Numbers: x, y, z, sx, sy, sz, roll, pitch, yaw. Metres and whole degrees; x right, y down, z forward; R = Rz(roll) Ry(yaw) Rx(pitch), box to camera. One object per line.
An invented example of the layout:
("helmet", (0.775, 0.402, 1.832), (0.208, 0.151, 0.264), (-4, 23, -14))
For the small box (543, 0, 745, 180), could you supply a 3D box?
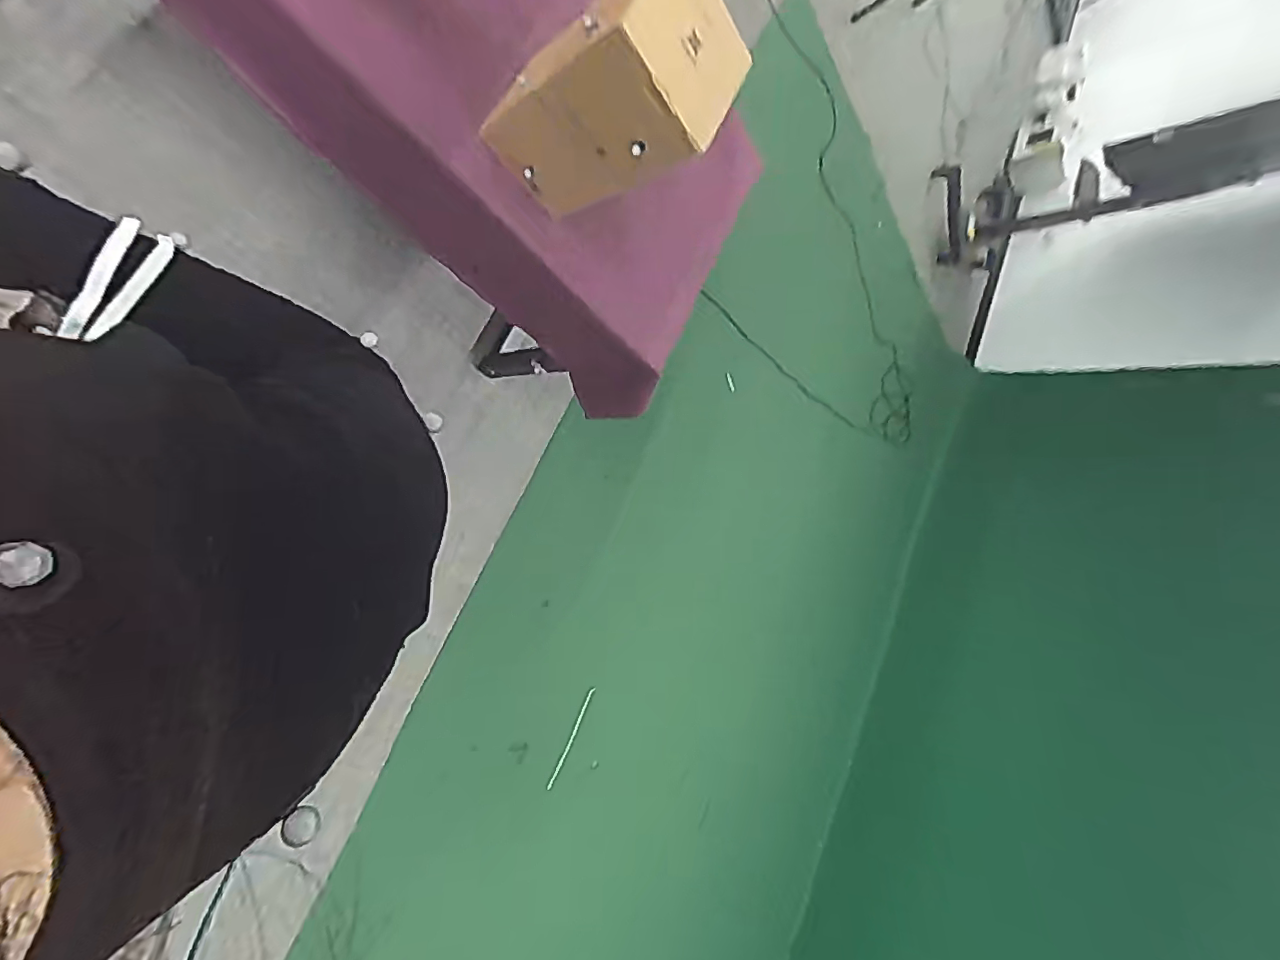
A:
("small box", (0.000, -0.530, 0.698), (0.168, 0.176, 0.179), (37, 71, -40))
